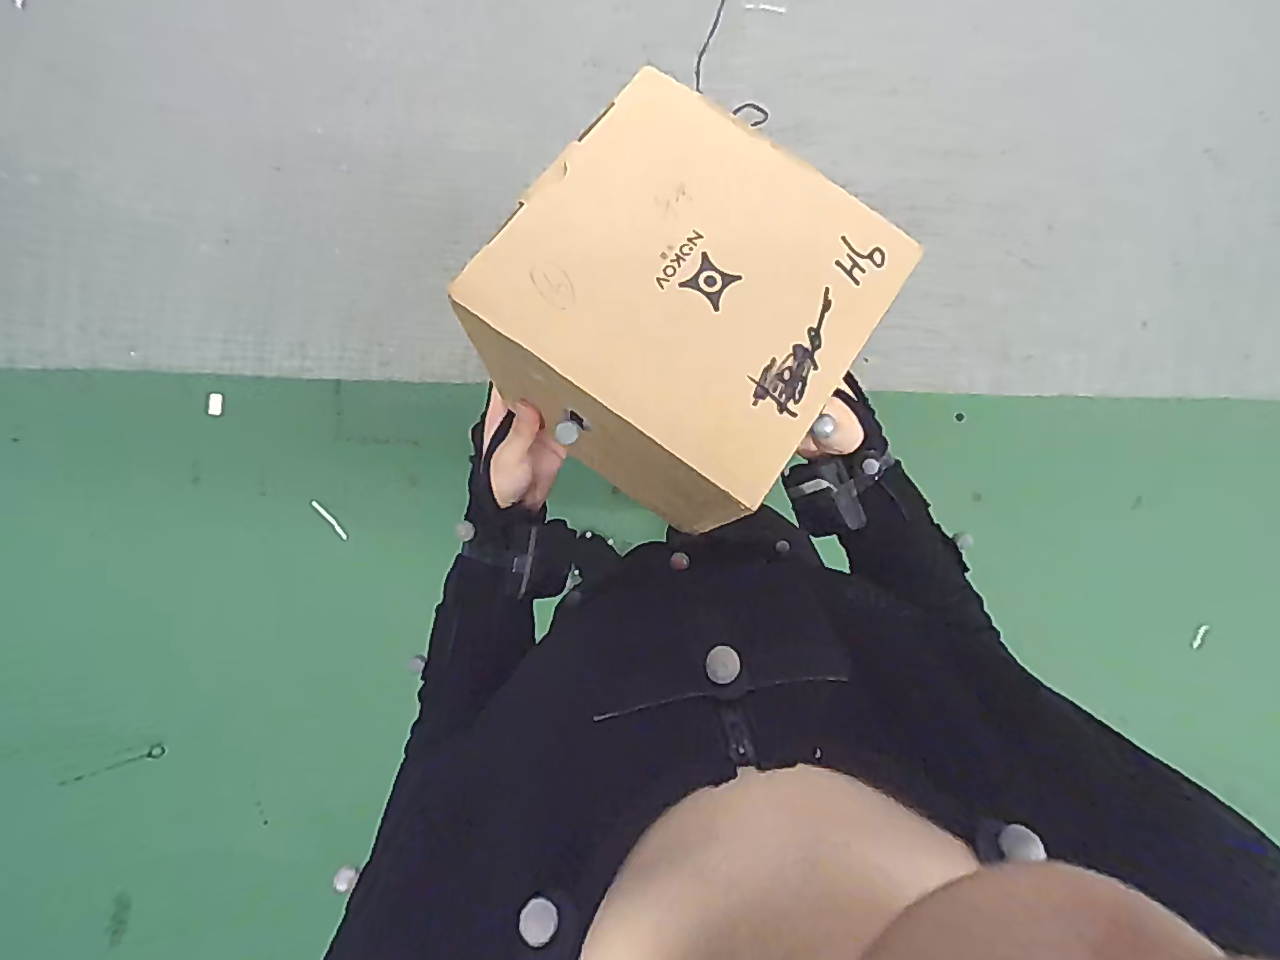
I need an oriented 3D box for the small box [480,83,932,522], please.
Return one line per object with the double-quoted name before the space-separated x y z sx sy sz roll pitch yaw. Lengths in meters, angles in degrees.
"small box" 0.032 -0.087 0.349 0.179 0.176 0.168 35 80 3
